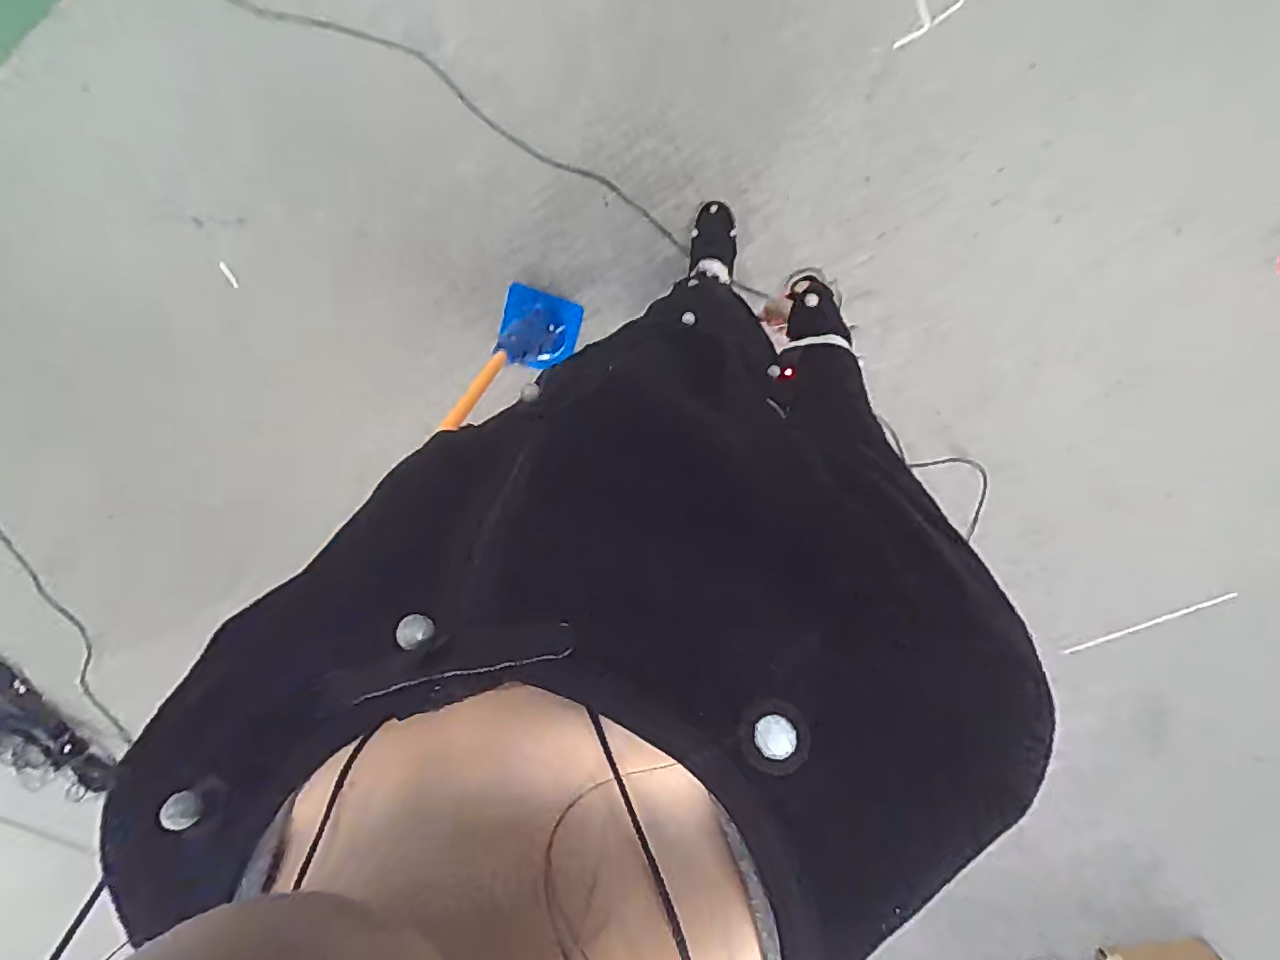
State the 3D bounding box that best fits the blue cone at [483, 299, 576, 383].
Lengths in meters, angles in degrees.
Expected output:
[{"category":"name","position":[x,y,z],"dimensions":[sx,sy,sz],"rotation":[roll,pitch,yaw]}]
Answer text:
[{"category":"blue cone","position":[-0.277,-0.288,1.248],"dimensions":[0.192,0.380,0.193],"rotation":[16,114,-4]}]
